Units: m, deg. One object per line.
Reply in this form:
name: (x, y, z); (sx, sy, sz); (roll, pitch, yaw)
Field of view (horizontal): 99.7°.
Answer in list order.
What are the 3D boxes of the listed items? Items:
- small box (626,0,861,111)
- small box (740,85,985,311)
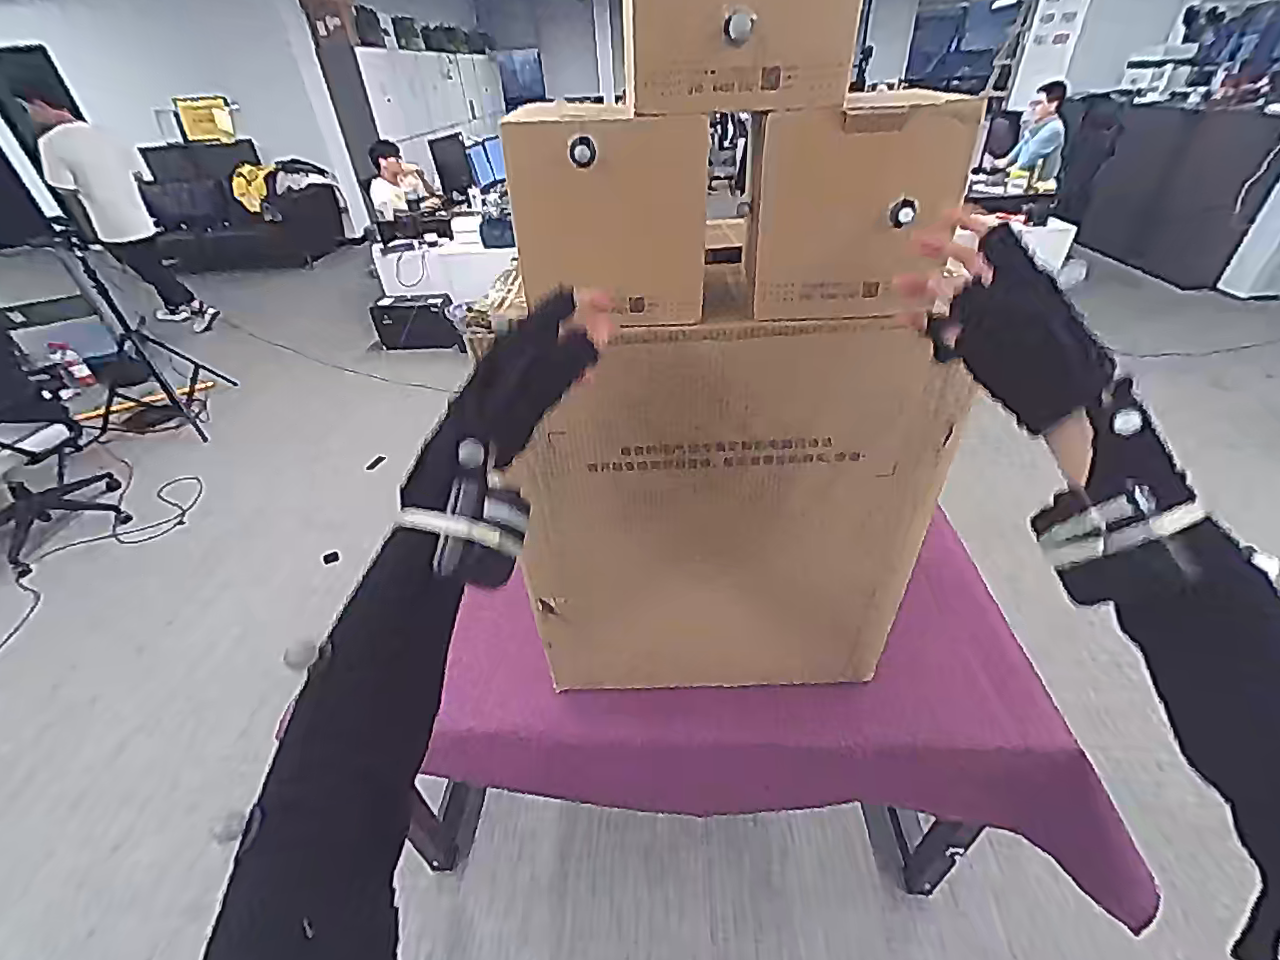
small box: (0.072, -0.402, 0.434); (0.168, 0.176, 0.179); (-3, 37, -1)
small box: (0.188, -0.269, 0.521); (0.168, 0.176, 0.179); (0, 36, 5)
